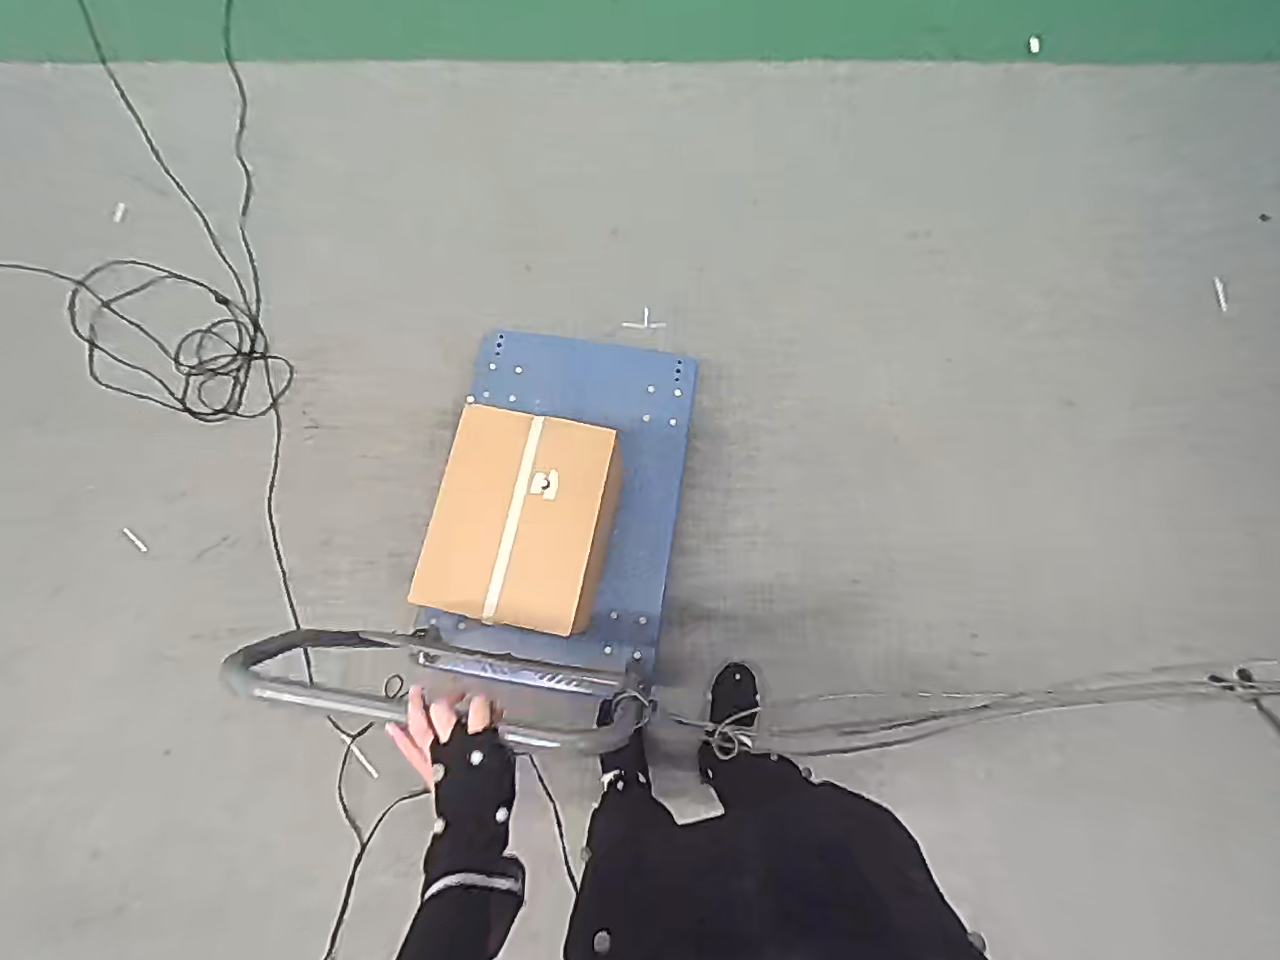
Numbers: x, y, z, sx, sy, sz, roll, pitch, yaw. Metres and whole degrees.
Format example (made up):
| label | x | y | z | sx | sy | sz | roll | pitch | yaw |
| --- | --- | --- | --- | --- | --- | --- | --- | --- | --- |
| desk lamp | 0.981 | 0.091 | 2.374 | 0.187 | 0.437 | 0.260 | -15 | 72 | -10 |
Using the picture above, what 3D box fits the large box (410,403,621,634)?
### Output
| label | x | y | z | sx | sy | sz | roll | pitch | yaw |
| --- | --- | --- | --- | --- | --- | --- | --- | --- | --- |
| large box | -0.235 | 0.098 | 1.164 | 0.320 | 0.320 | 0.408 | 11 | 77 | 3 |
